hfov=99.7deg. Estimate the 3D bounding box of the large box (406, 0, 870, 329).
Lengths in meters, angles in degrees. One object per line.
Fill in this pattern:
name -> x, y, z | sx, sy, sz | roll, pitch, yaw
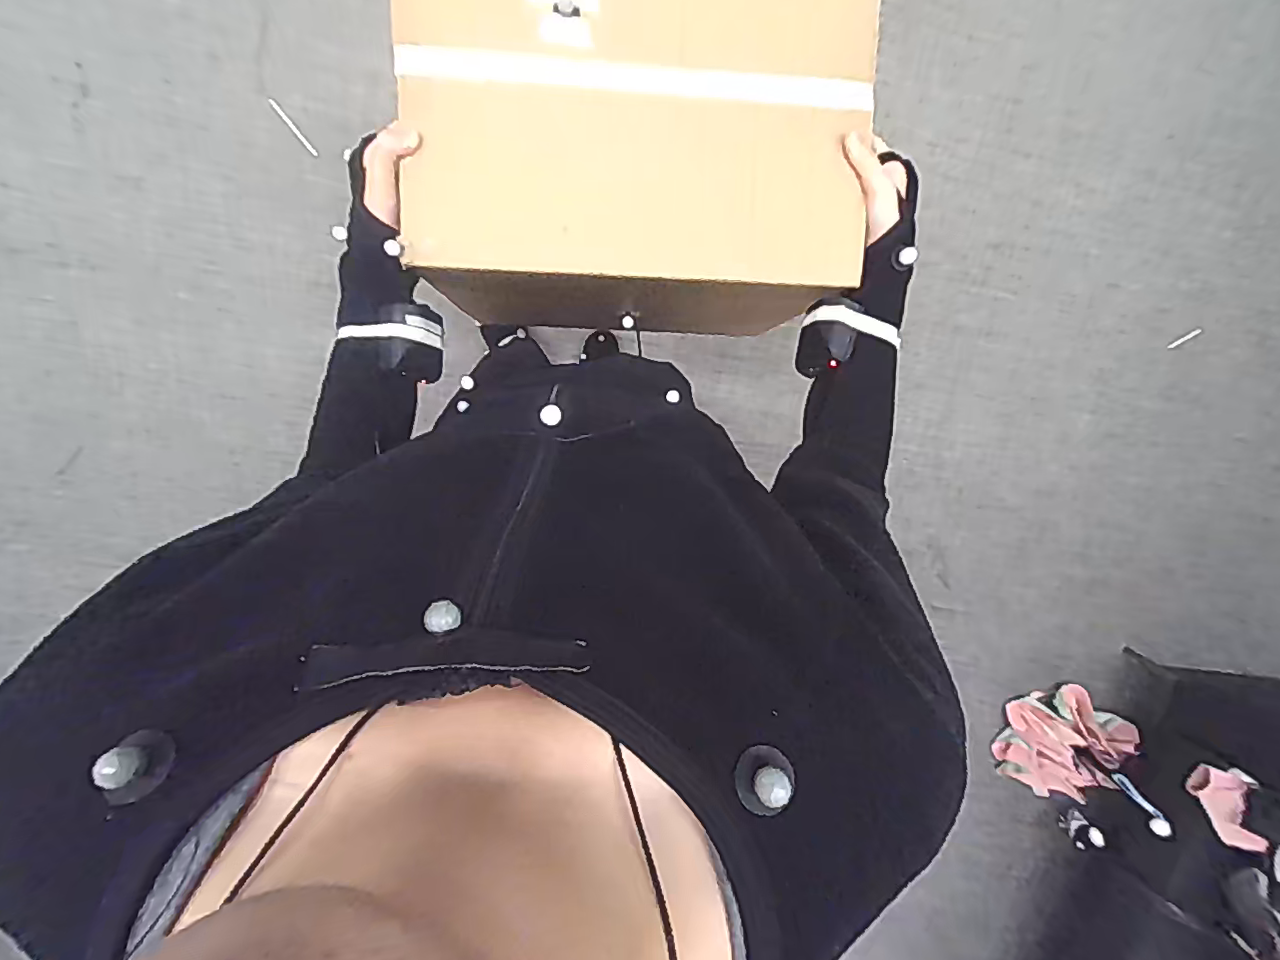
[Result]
large box -> -0.008, -0.351, 0.616 | 0.408, 0.320, 0.320 | 1, 97, -5
